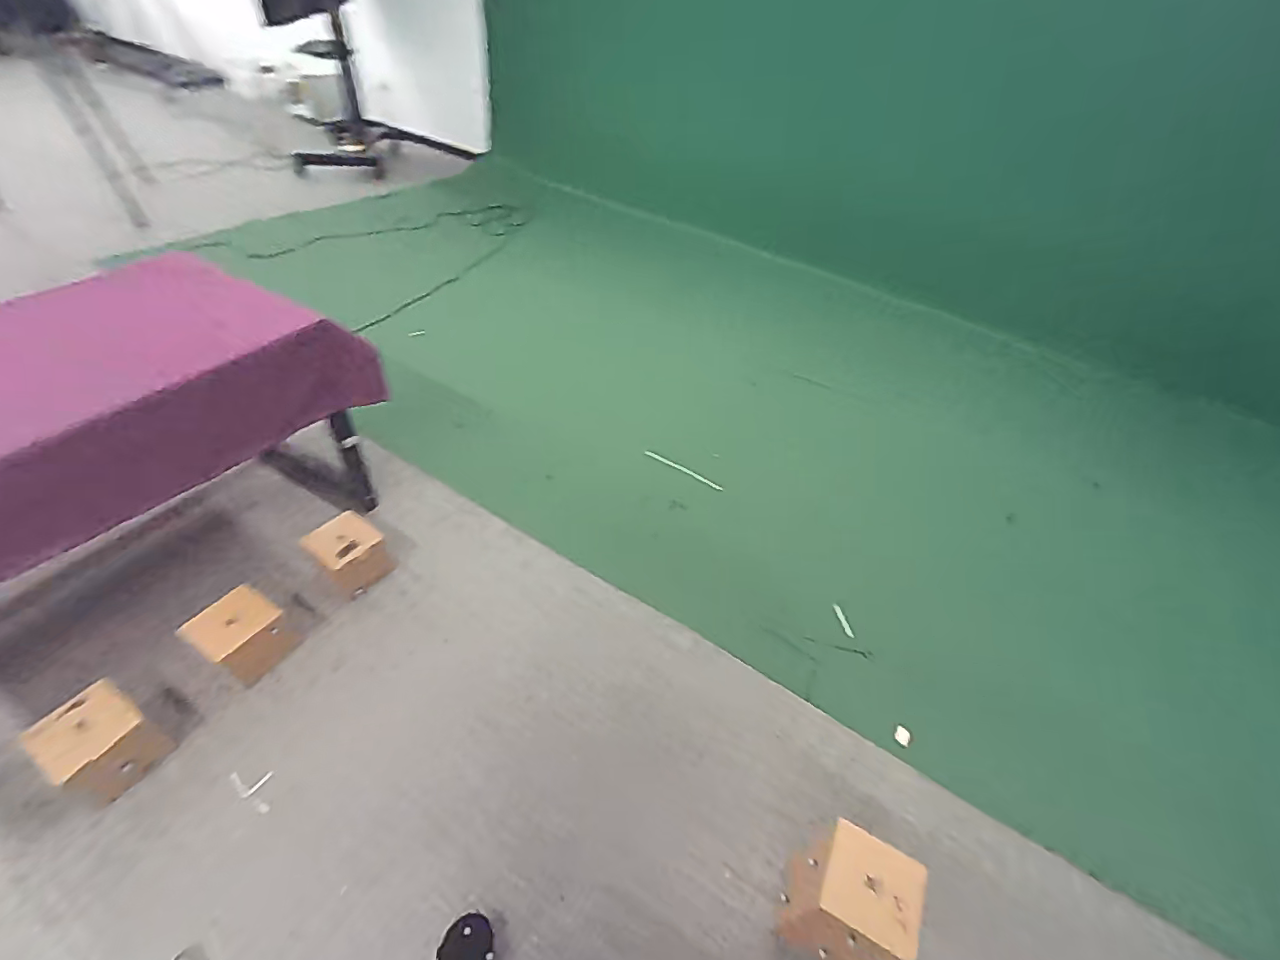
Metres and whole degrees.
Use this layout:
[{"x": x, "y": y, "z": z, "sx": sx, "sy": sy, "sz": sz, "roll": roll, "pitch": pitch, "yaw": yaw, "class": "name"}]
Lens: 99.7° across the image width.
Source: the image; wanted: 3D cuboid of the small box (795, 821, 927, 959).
[{"x": 0.426, "y": 0.819, "z": 1.059, "sx": 0.179, "sy": 0.176, "sz": 0.168, "roll": 26, "pitch": 48, "yaw": 17, "class": "small box"}]

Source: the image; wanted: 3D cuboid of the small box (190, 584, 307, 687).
[{"x": -1.057, "y": 0.428, "z": 1.478, "sx": 0.168, "sy": 0.176, "sz": 0.179, "roll": 26, "pitch": 46, "yaw": 17, "class": "small box"}]

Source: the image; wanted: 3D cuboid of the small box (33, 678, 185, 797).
[{"x": -1.227, "y": 0.607, "z": 1.265, "sx": 0.179, "sy": 0.176, "sz": 0.168, "roll": 28, "pitch": 46, "yaw": 18, "class": "small box"}]

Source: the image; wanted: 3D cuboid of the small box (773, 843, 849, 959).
[{"x": 0.410, "y": 0.939, "z": 1.171, "sx": 0.179, "sy": 0.176, "sz": 0.168, "roll": 27, "pitch": 48, "yaw": 18, "class": "small box"}]
